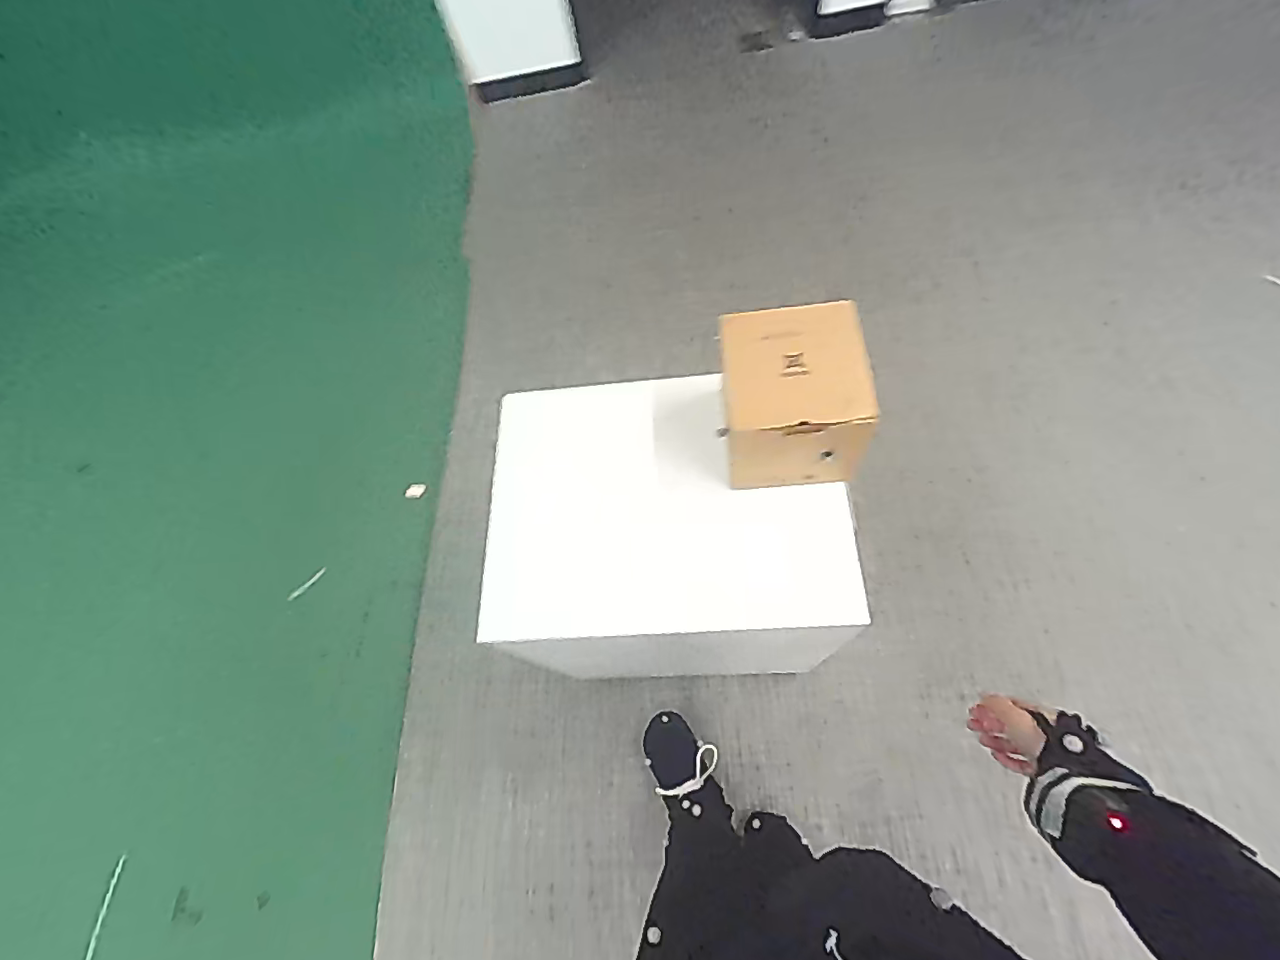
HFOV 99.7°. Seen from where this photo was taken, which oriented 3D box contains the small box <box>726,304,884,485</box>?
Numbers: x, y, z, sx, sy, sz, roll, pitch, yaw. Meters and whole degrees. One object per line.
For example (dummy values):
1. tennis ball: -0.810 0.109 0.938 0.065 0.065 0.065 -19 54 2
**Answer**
1. small box: 0.203 -0.101 0.715 0.168 0.176 0.179 -4 63 7
